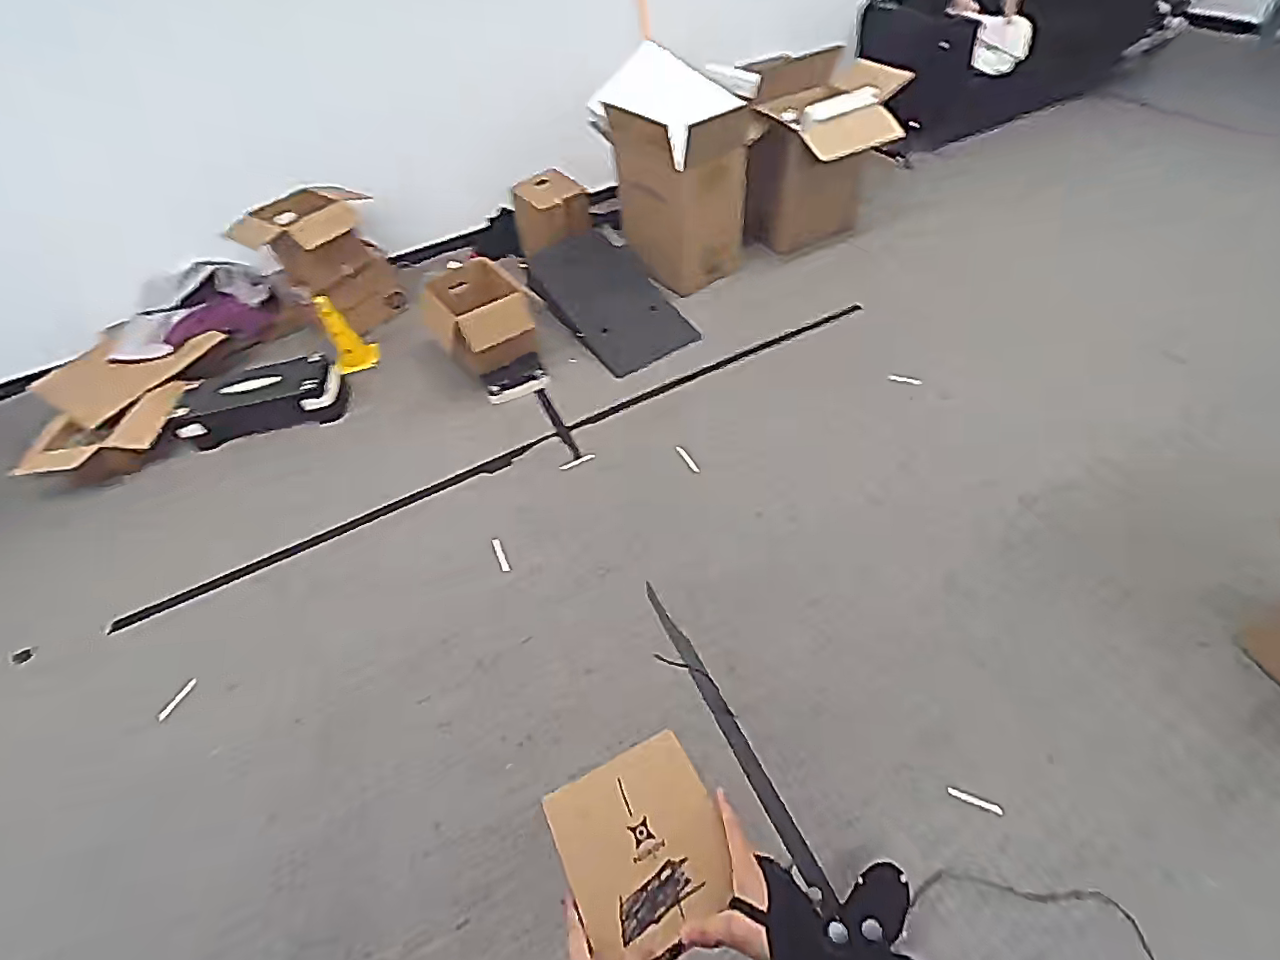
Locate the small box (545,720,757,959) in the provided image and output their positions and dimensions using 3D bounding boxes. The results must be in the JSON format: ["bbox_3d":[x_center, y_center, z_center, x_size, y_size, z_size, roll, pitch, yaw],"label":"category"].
[{"bbox_3d":[0.007,0.416,0.613,0.168,0.176,0.179,-19,48,-19],"label":"small box"}]
